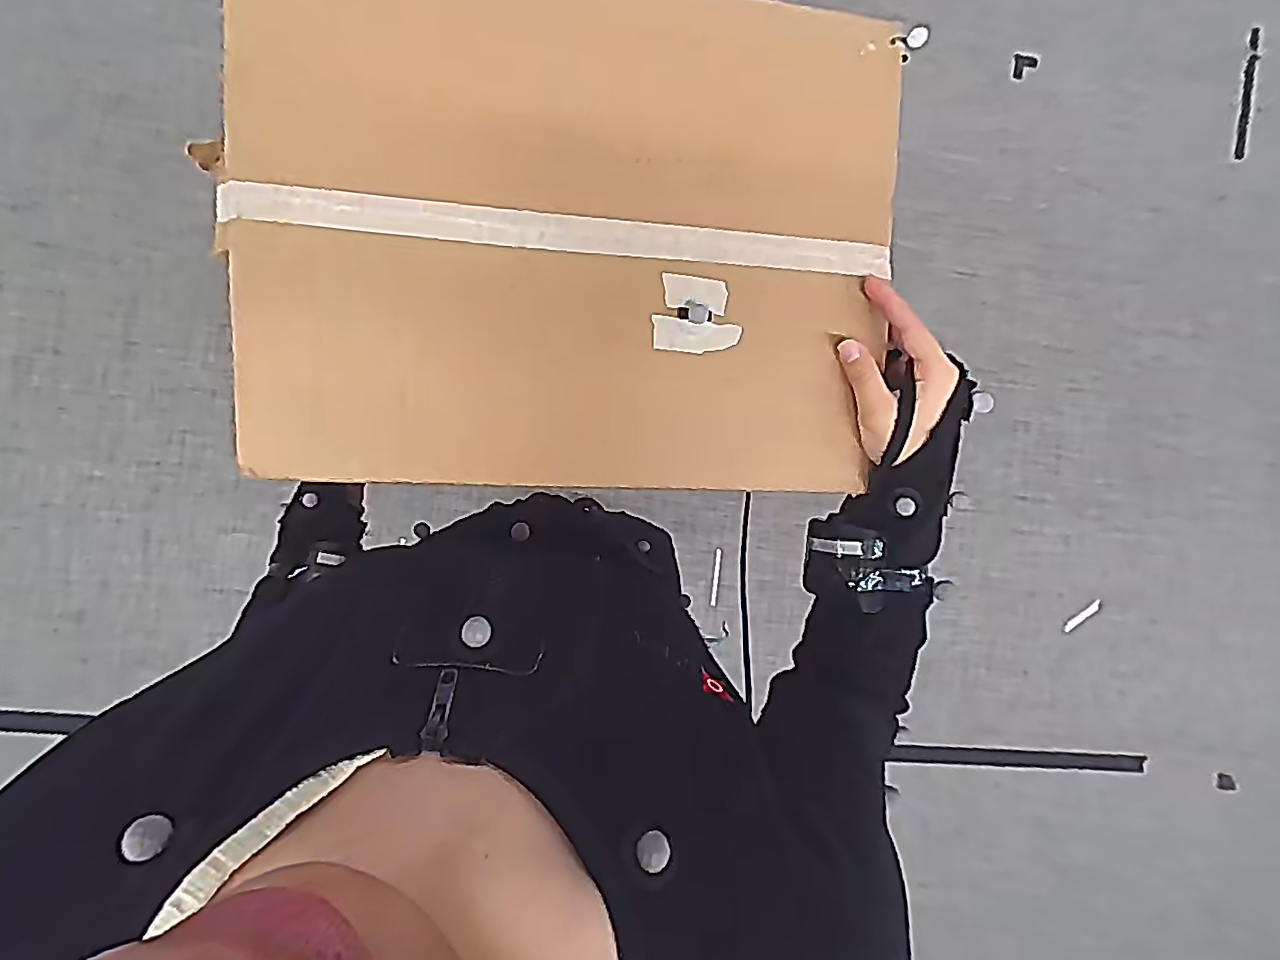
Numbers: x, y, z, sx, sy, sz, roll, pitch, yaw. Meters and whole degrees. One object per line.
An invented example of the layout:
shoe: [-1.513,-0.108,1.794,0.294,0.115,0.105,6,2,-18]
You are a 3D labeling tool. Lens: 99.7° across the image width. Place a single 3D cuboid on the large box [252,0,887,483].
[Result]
large box: [-0.055,-0.165,0.494,0.408,0.320,0.320,1,95,-11]
